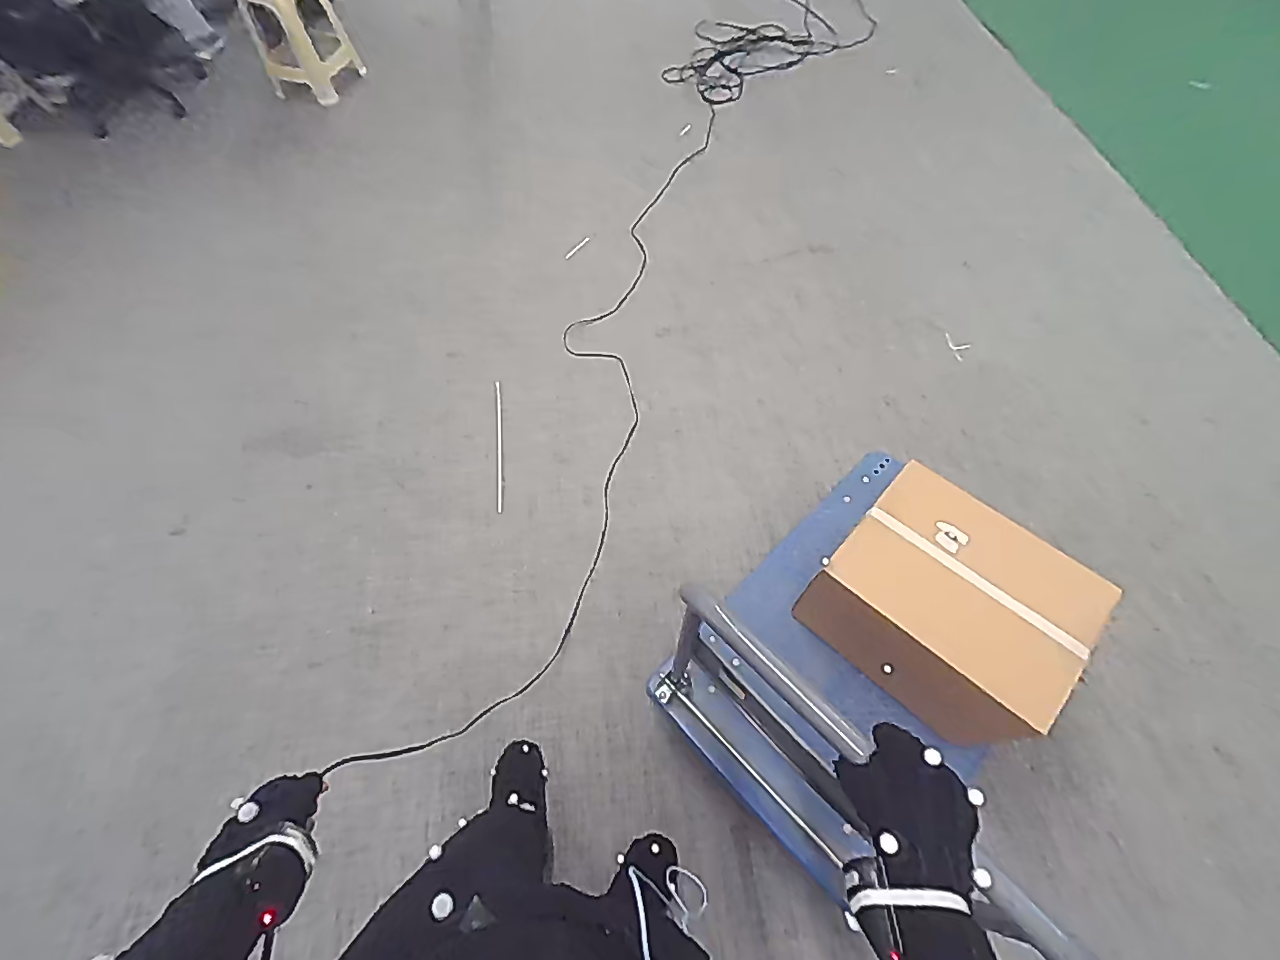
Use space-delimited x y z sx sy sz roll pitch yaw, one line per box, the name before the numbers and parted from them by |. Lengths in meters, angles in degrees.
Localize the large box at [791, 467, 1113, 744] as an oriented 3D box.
large box | 0.577 0.255 1.078 0.408 0.320 0.320 38 69 21
